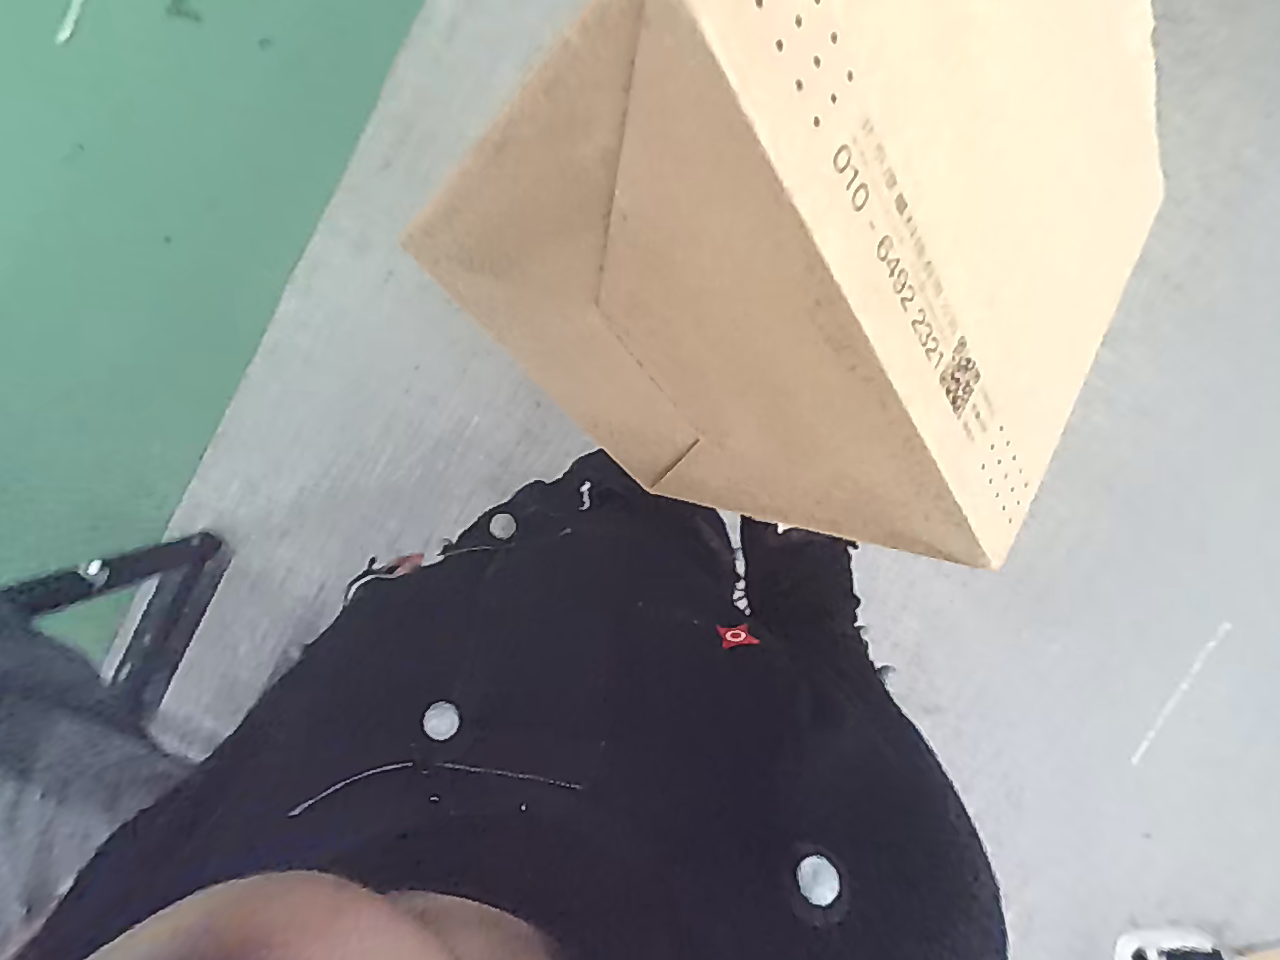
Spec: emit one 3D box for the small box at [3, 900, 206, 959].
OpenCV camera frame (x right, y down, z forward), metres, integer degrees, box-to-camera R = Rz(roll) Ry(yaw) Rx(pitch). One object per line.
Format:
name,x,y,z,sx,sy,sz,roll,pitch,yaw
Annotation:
small box,-0.647,0.619,0.595,0.179,0.176,0.168,28,96,-5
